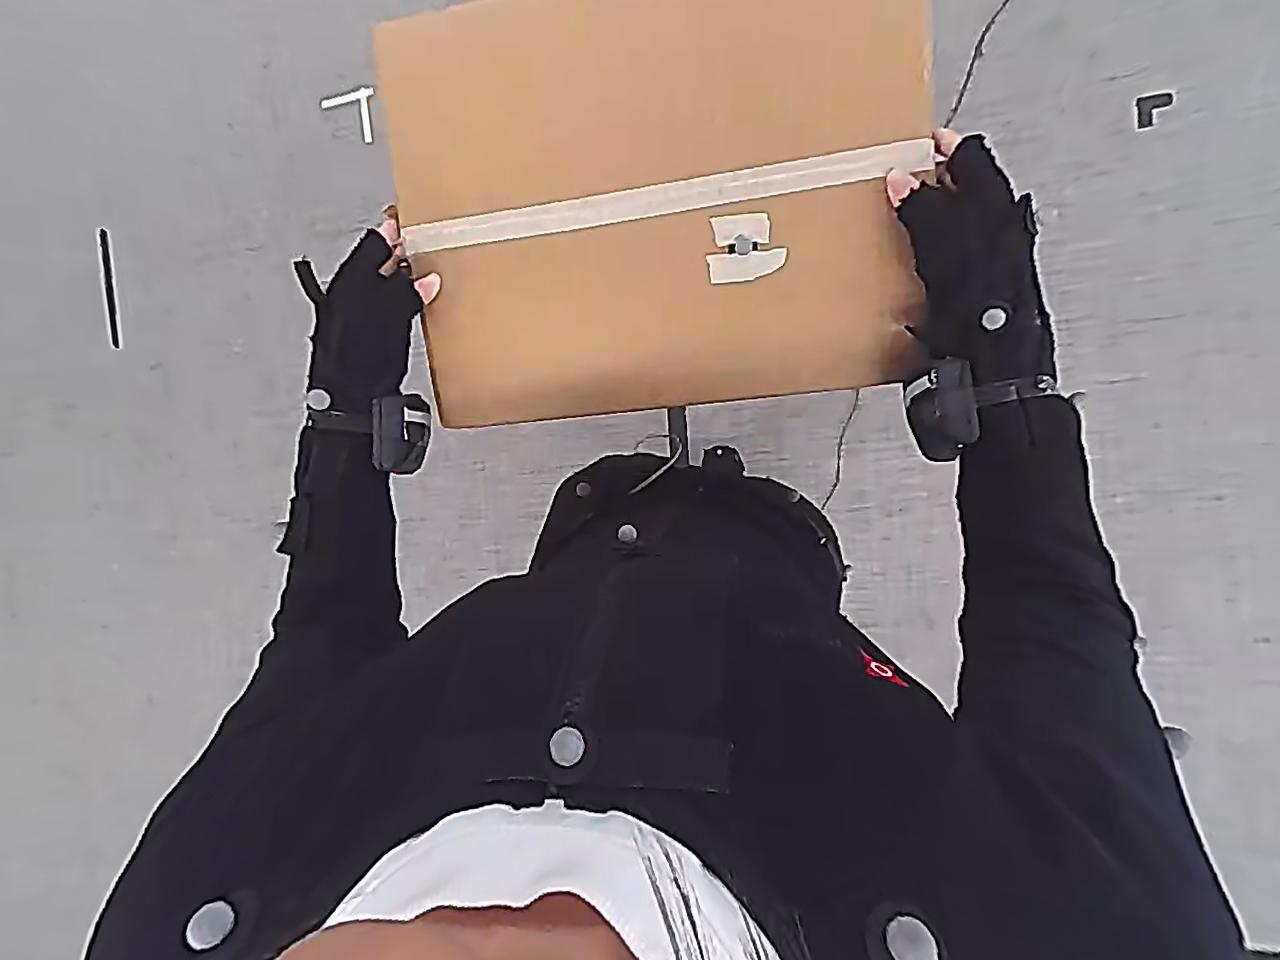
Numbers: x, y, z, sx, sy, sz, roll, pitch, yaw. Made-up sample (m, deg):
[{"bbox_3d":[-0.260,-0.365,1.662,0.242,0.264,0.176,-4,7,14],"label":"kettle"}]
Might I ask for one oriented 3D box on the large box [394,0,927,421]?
[{"bbox_3d":[0.030,-0.249,0.574,0.408,0.320,0.320,-5,101,8],"label":"large box"}]
